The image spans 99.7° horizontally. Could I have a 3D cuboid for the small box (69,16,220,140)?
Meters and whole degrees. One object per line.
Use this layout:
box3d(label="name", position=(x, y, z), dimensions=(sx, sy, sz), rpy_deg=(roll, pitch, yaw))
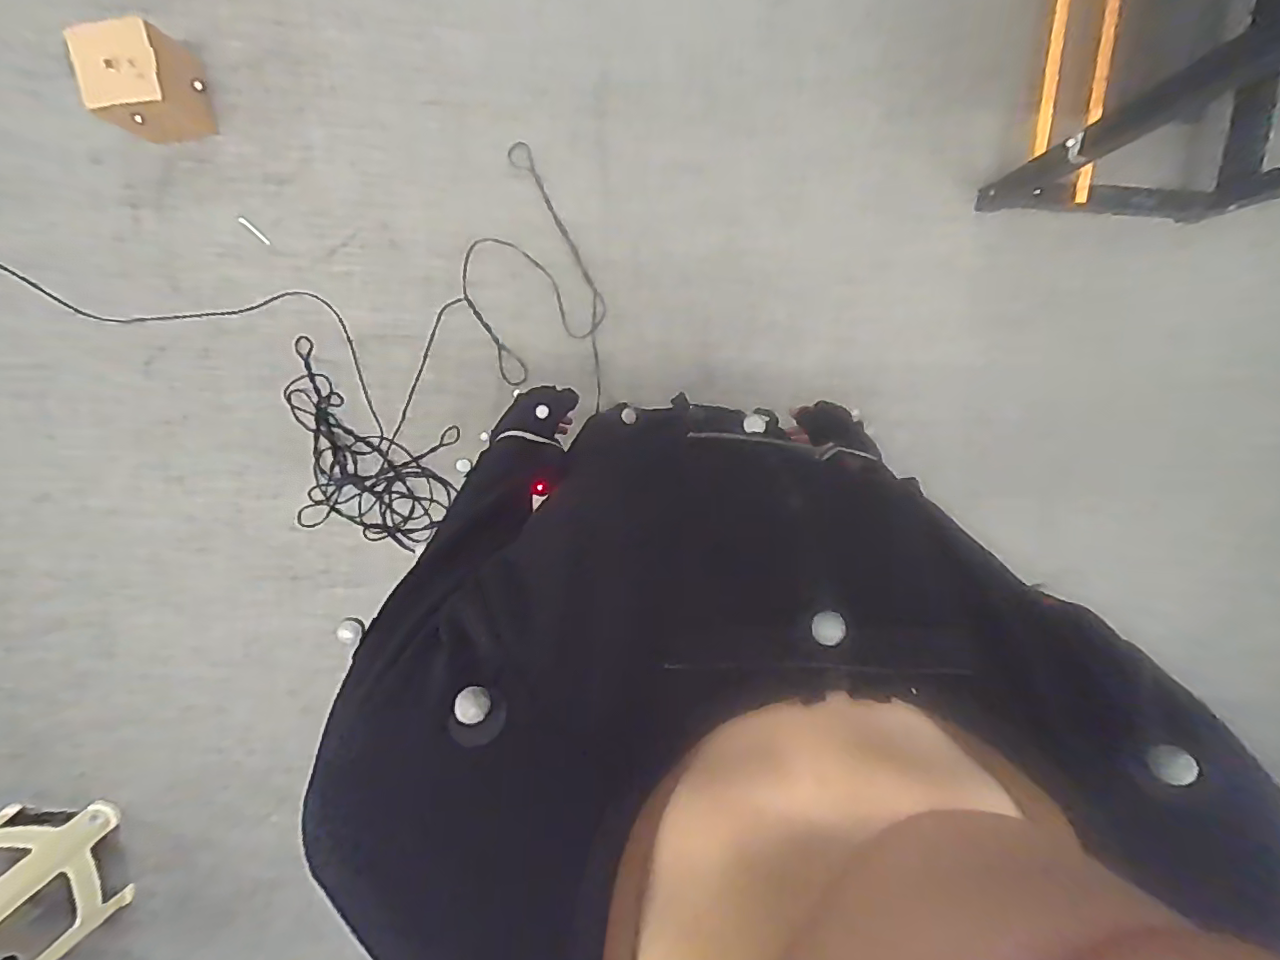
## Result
box3d(label="small box", position=(-1.133, -0.917, 1.251), dimensions=(0.179, 0.176, 0.168), rpy_deg=(-7, 100, 1))
